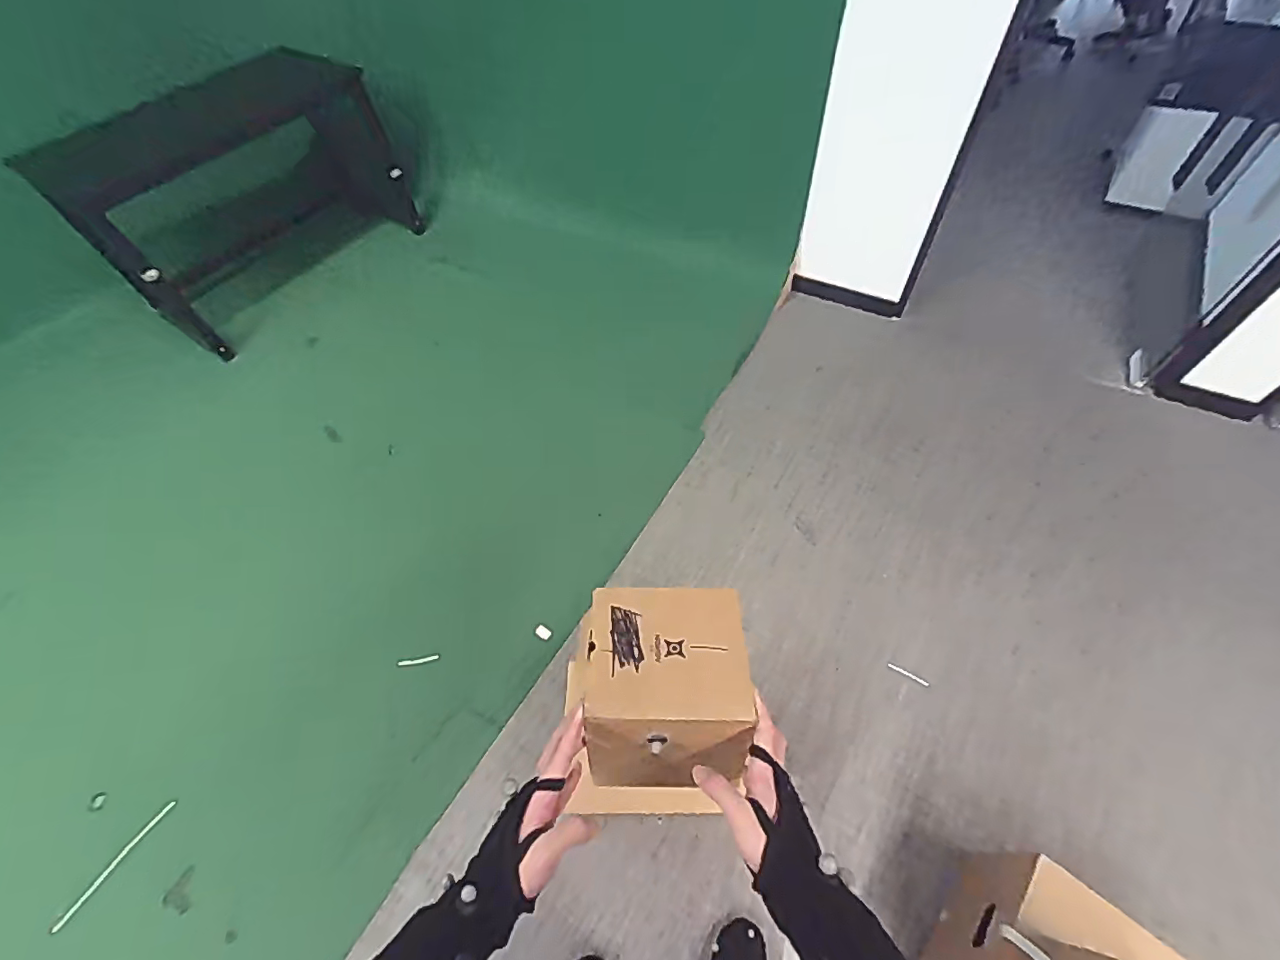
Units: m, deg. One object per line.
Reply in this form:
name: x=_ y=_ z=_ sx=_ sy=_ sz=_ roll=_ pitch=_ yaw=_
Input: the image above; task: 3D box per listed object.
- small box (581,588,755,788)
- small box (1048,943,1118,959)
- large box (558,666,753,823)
small box: x=0.028 y=0.247 z=0.642 sx=0.179 sy=0.176 sz=0.168 roll=1 pitch=40 yaw=0
small box: x=0.723 y=0.851 z=0.806 sx=0.168 sy=0.176 sz=0.179 roll=31 pitch=65 yaw=22
large box: x=0.039 y=0.635 z=1.299 sx=0.408 sy=0.320 sz=0.320 roll=-3 pitch=55 yaw=3
